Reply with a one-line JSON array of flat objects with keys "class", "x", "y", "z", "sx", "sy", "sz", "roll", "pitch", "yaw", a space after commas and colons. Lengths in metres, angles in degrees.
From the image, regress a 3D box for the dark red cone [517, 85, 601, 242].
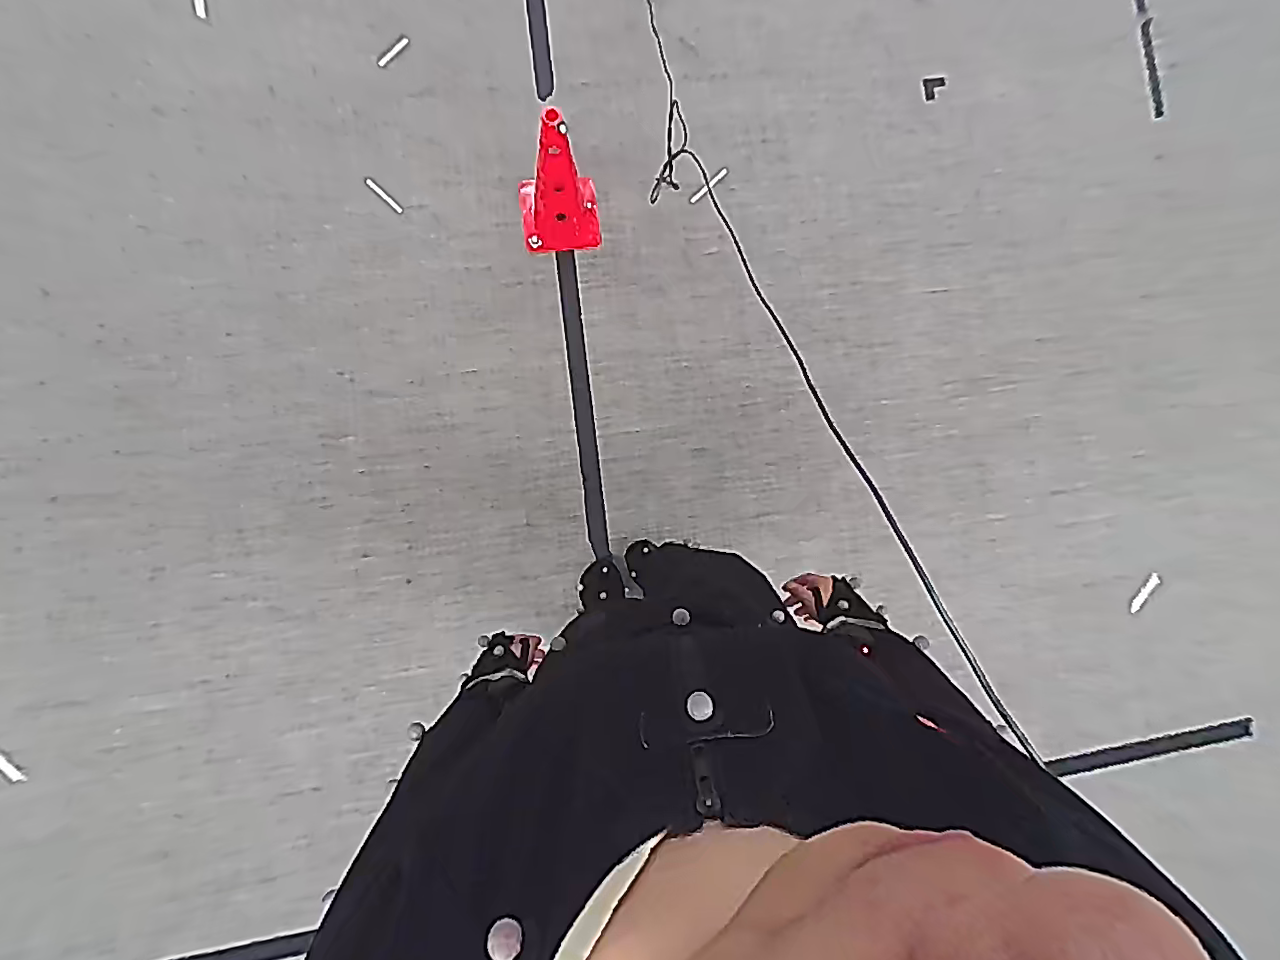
[{"class": "dark red cone", "x": -0.190, "y": -0.728, "z": 1.238, "sx": 0.201, "sy": 0.394, "sz": 0.202, "roll": -8, "pitch": 86, "yaw": -7}]
